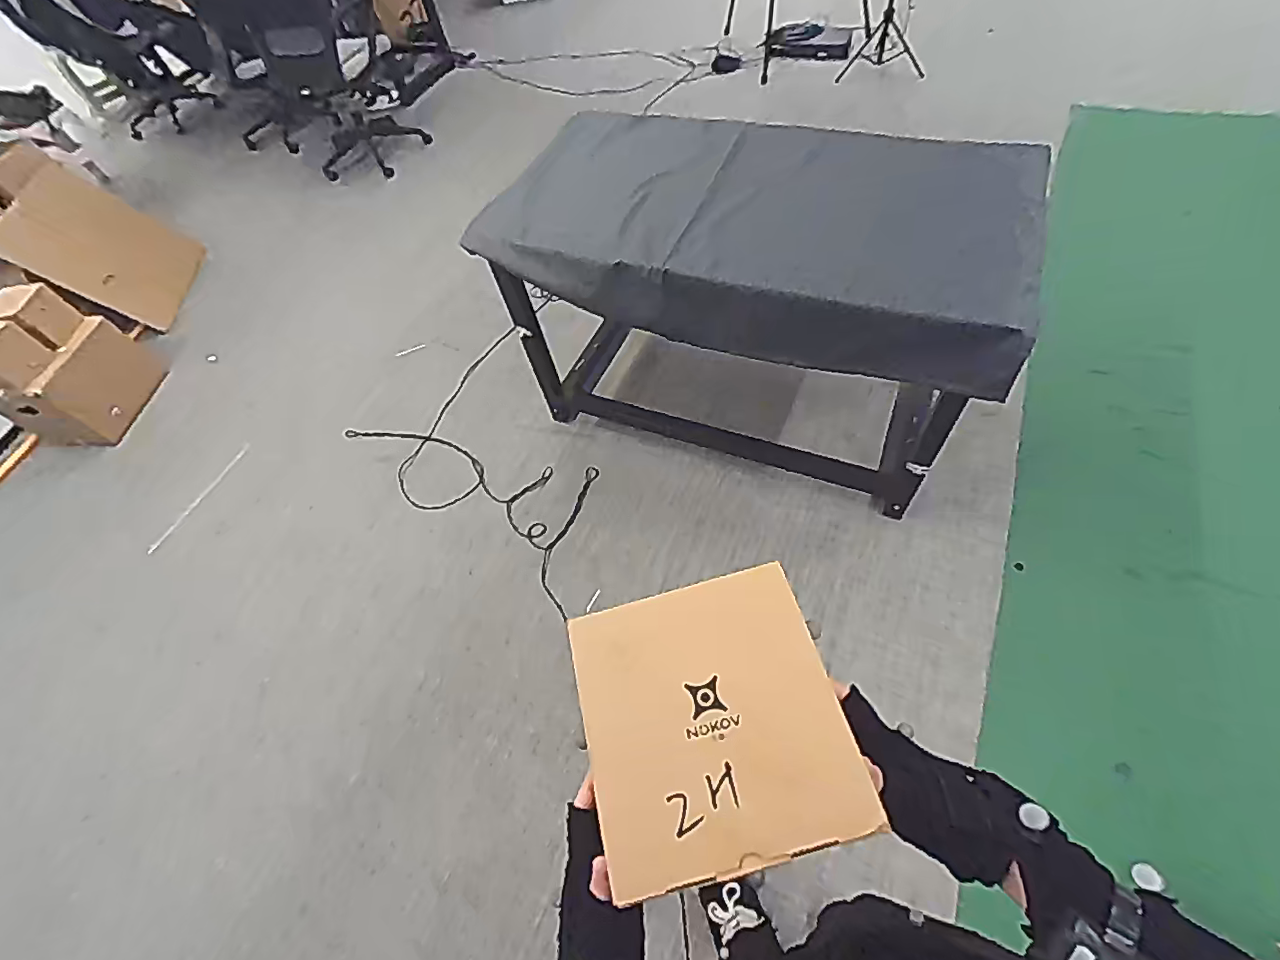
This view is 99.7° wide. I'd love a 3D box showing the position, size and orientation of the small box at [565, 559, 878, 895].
[{"bbox_3d":[0.051,0.190,0.419,0.168,0.176,0.179,-16,57,1],"label":"small box"}]
